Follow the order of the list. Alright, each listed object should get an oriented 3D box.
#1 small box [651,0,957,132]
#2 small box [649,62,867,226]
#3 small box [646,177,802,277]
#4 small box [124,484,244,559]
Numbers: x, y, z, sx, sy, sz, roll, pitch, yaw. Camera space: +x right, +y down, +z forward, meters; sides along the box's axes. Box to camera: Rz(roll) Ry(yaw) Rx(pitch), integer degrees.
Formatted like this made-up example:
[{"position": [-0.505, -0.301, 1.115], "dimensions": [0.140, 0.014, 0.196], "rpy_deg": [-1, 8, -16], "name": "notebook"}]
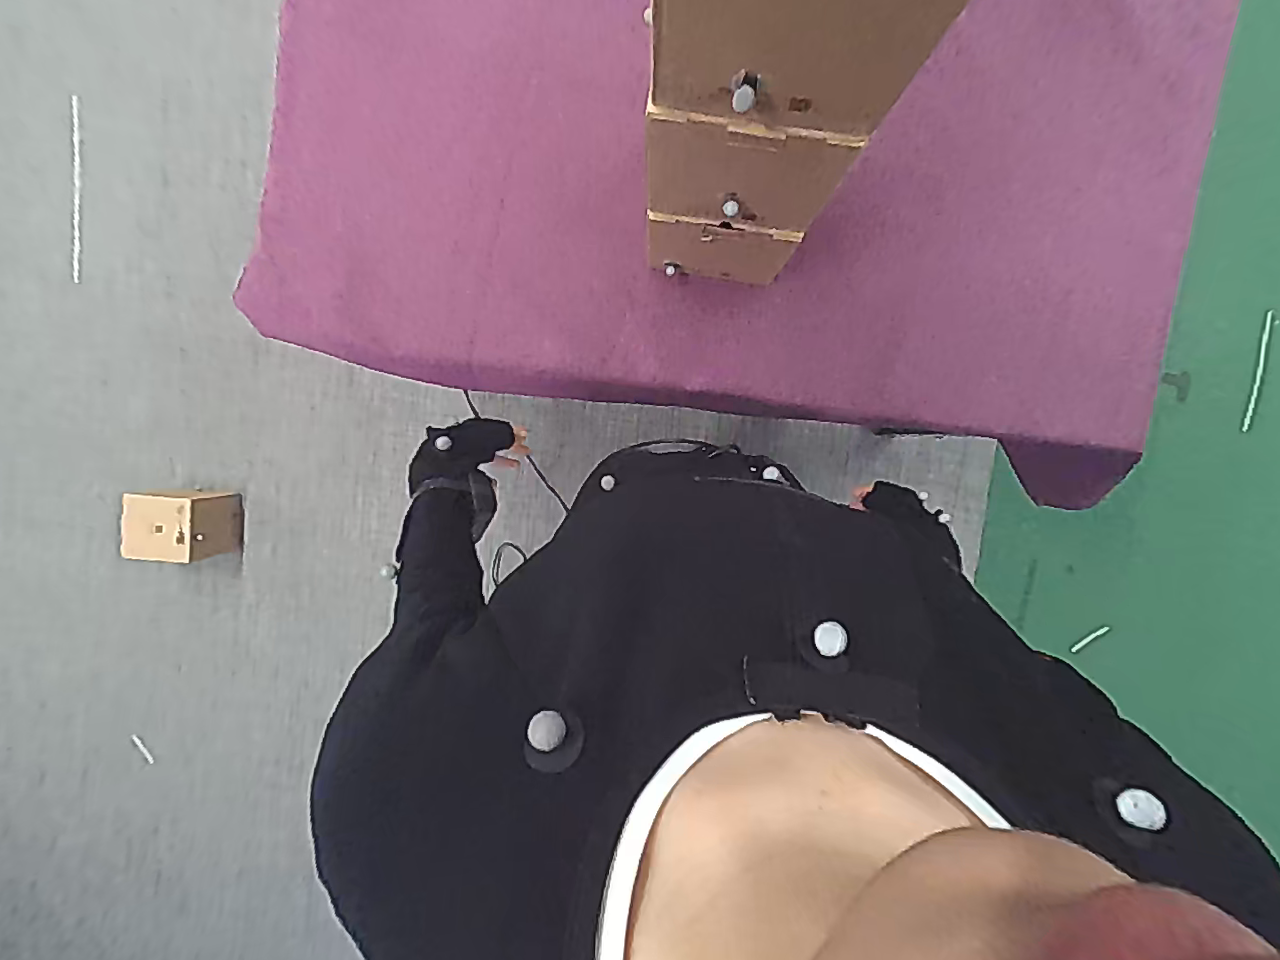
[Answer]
[{"position": [0.098, -0.346, 0.311], "dimensions": [0.168, 0.176, 0.179], "rpy_deg": [9, 94, 1], "name": "small box"}, {"position": [0.100, -0.353, 0.474], "dimensions": [0.168, 0.176, 0.179], "rpy_deg": [9, 95, 1], "name": "small box"}, {"position": [0.103, -0.357, 0.638], "dimensions": [0.168, 0.176, 0.179], "rpy_deg": [9, 94, 1], "name": "small box"}, {"position": [-1.198, 0.104, 1.429], "dimensions": [0.179, 0.176, 0.168], "rpy_deg": [6, 95, 1], "name": "small box"}]
